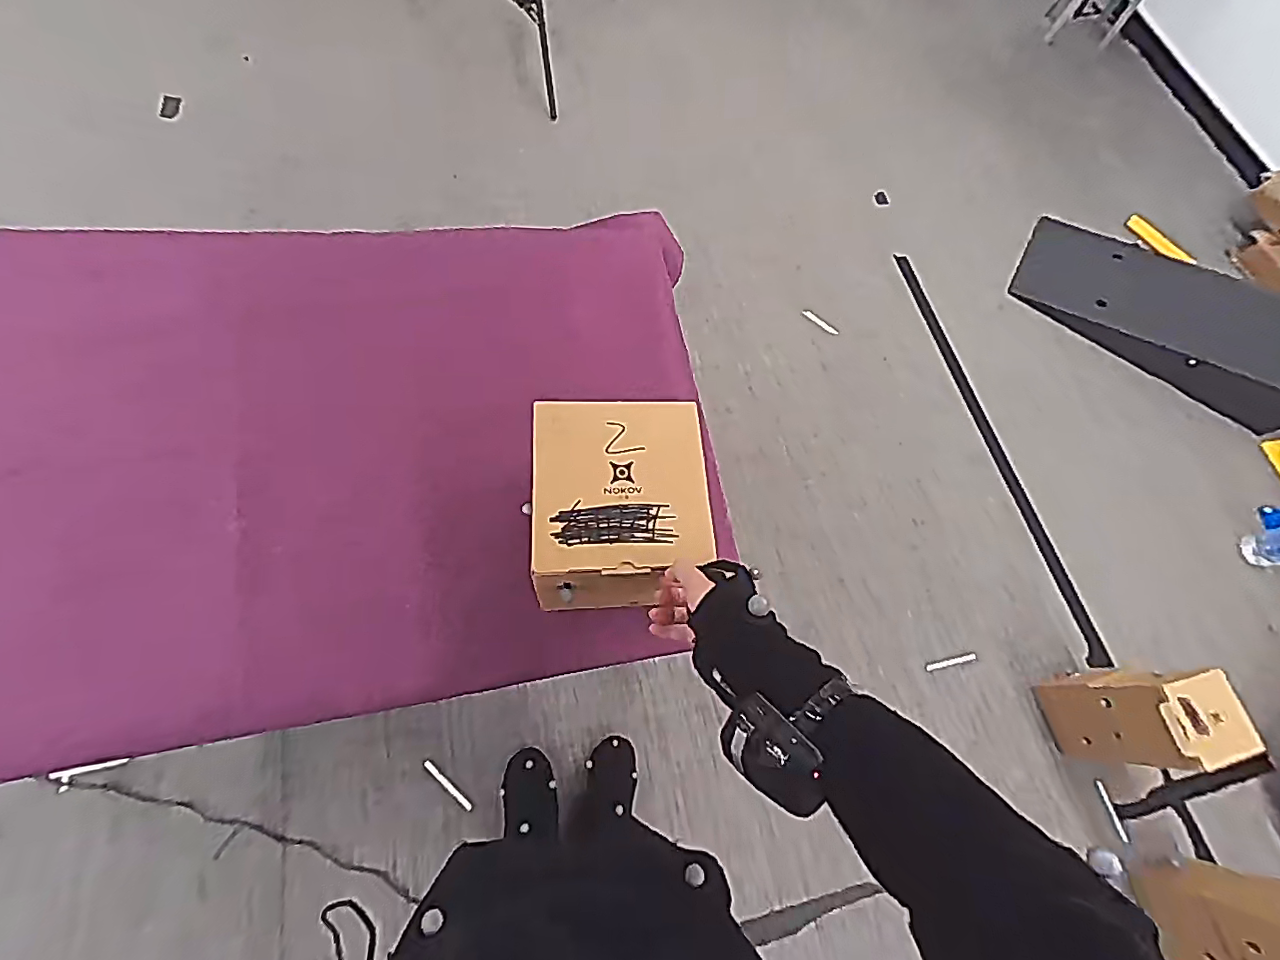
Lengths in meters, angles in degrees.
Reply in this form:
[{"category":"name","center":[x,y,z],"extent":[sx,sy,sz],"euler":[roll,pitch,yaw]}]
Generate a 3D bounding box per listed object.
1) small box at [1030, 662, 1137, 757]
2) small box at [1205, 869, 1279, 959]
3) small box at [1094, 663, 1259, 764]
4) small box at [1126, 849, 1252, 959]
[{"category":"small box","center":[1.134,0.565,1.344],"extent":[0.168,0.176,0.179],"euler":[-11,70,-14]},{"category":"small box","center":[1.294,0.901,1.059],"extent":[0.179,0.176,0.168],"euler":[-9,71,-12]},{"category":"small box","center":[1.159,0.510,1.191],"extent":[0.179,0.176,0.168],"euler":[-8,70,-13]},{"category":"small box","center":[1.258,0.961,1.206],"extent":[0.168,0.176,0.179],"euler":[-5,70,-11]}]
